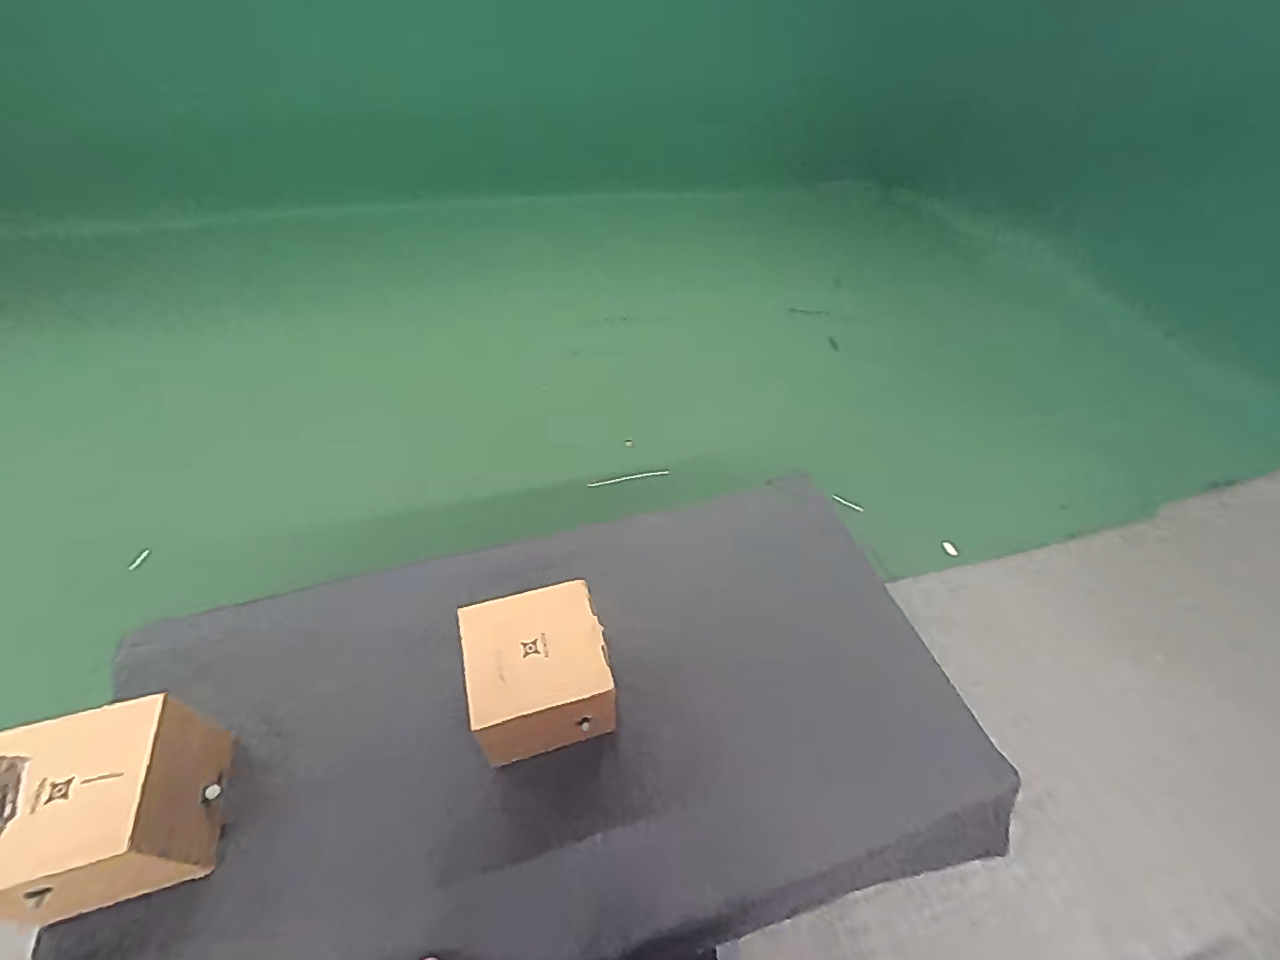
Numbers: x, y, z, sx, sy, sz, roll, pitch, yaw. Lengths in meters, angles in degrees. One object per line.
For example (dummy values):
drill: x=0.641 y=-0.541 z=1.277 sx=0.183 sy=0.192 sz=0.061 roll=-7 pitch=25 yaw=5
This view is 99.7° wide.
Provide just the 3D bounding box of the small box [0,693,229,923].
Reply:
small box: x=-0.612 y=0.370 z=0.608 sx=0.179 sy=0.176 sz=0.168 roll=-10 pitch=52 yaw=-15

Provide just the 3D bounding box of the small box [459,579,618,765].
small box: x=-0.138 y=0.266 z=0.745 sx=0.179 sy=0.176 sz=0.168 roll=-13 pitch=51 yaw=-14
